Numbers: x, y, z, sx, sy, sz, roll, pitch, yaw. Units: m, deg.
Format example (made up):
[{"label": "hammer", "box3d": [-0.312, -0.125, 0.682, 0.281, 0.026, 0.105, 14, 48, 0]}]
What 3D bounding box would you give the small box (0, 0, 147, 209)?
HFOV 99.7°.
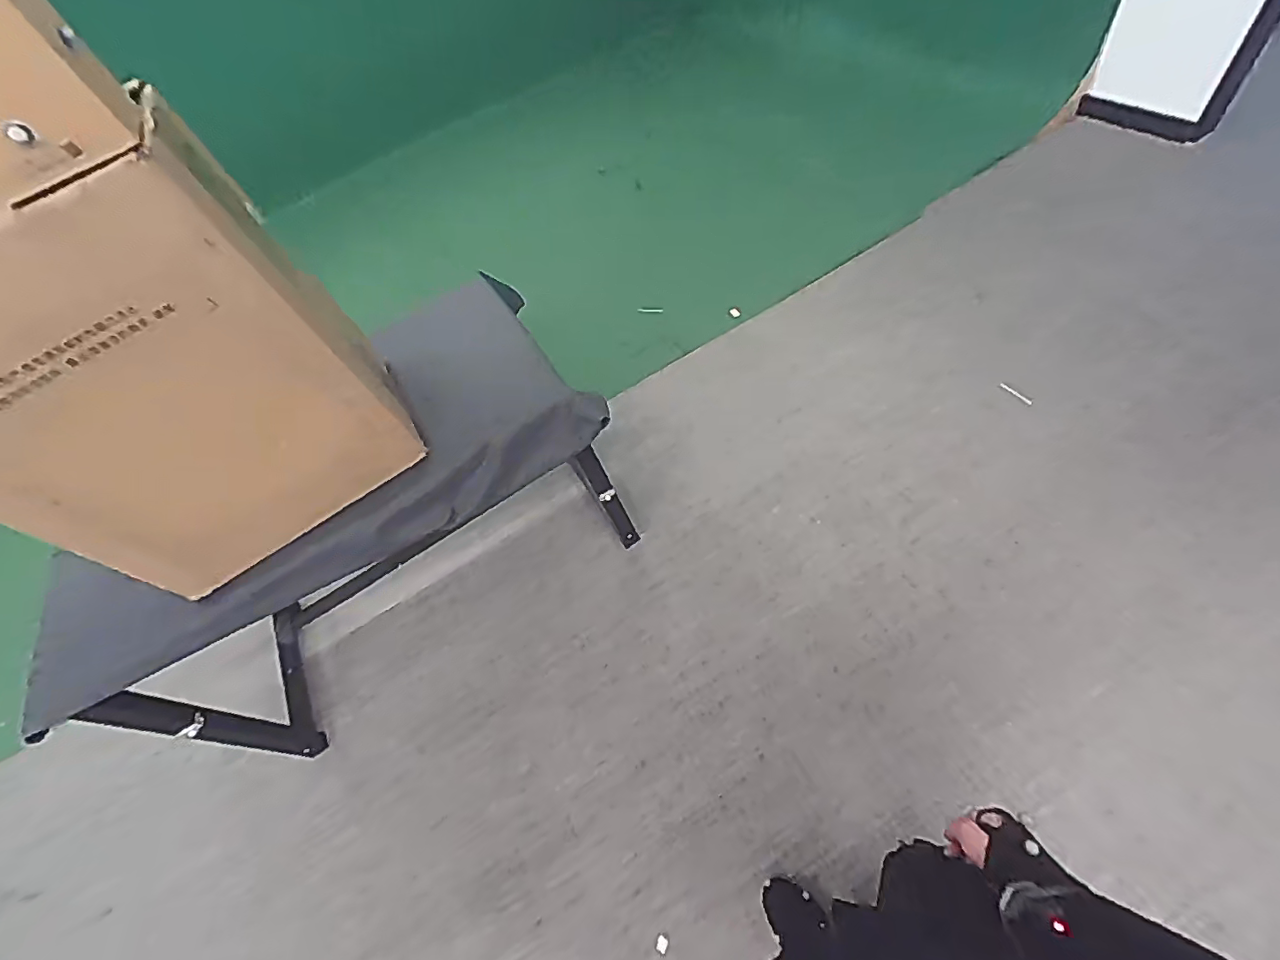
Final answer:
[{"label": "small box", "box3d": [-0.714, -0.444, 0.616, 0.168, 0.176, 0.179, -34, 55, -9]}]
